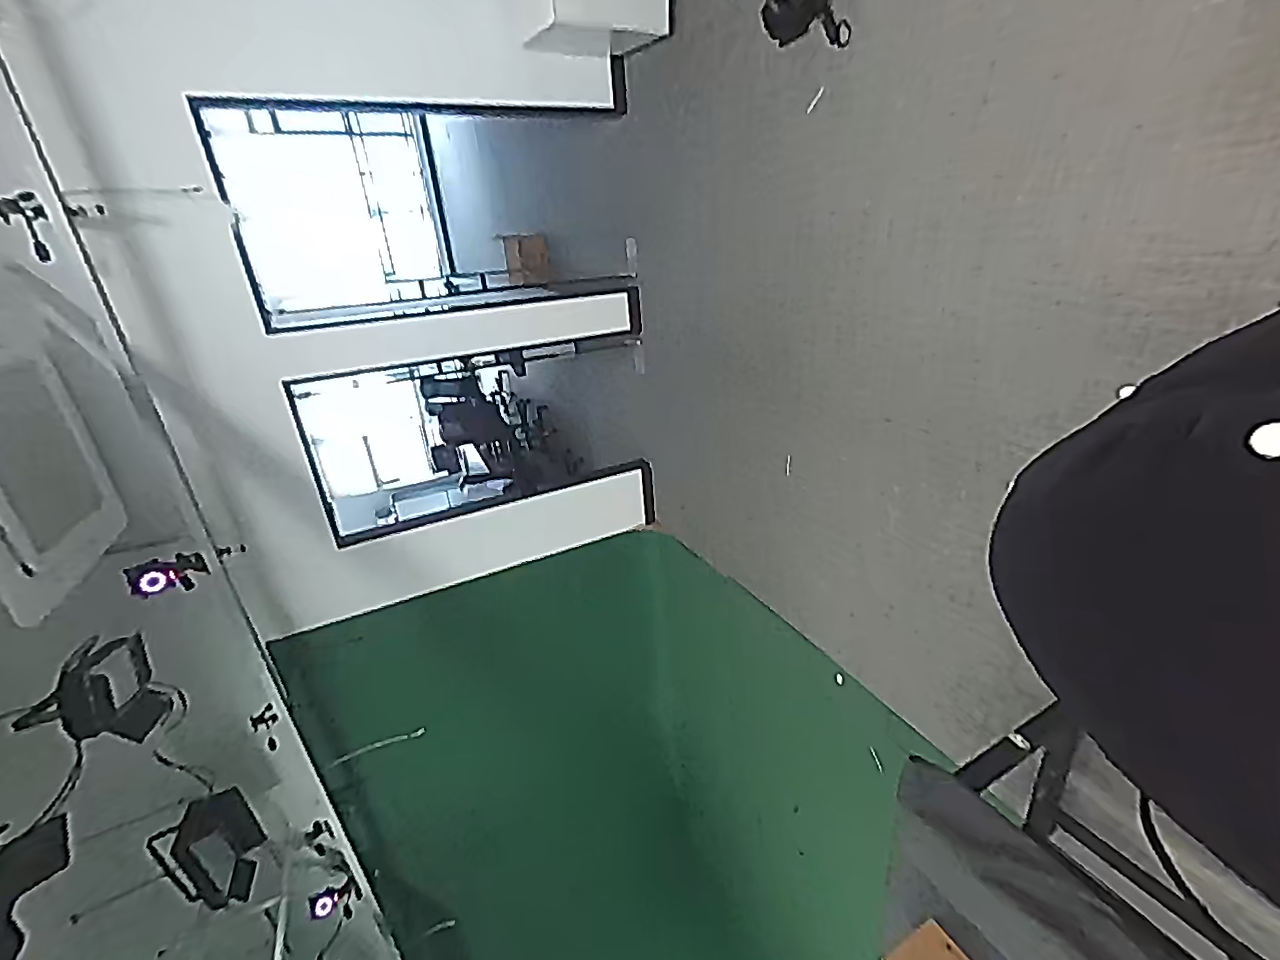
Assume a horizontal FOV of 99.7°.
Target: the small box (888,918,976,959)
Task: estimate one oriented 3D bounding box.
[{"bbox_3d":[0.688,1.169,1.242,0.168,0.176,0.179,37,138,55],"label":"small box"}]
